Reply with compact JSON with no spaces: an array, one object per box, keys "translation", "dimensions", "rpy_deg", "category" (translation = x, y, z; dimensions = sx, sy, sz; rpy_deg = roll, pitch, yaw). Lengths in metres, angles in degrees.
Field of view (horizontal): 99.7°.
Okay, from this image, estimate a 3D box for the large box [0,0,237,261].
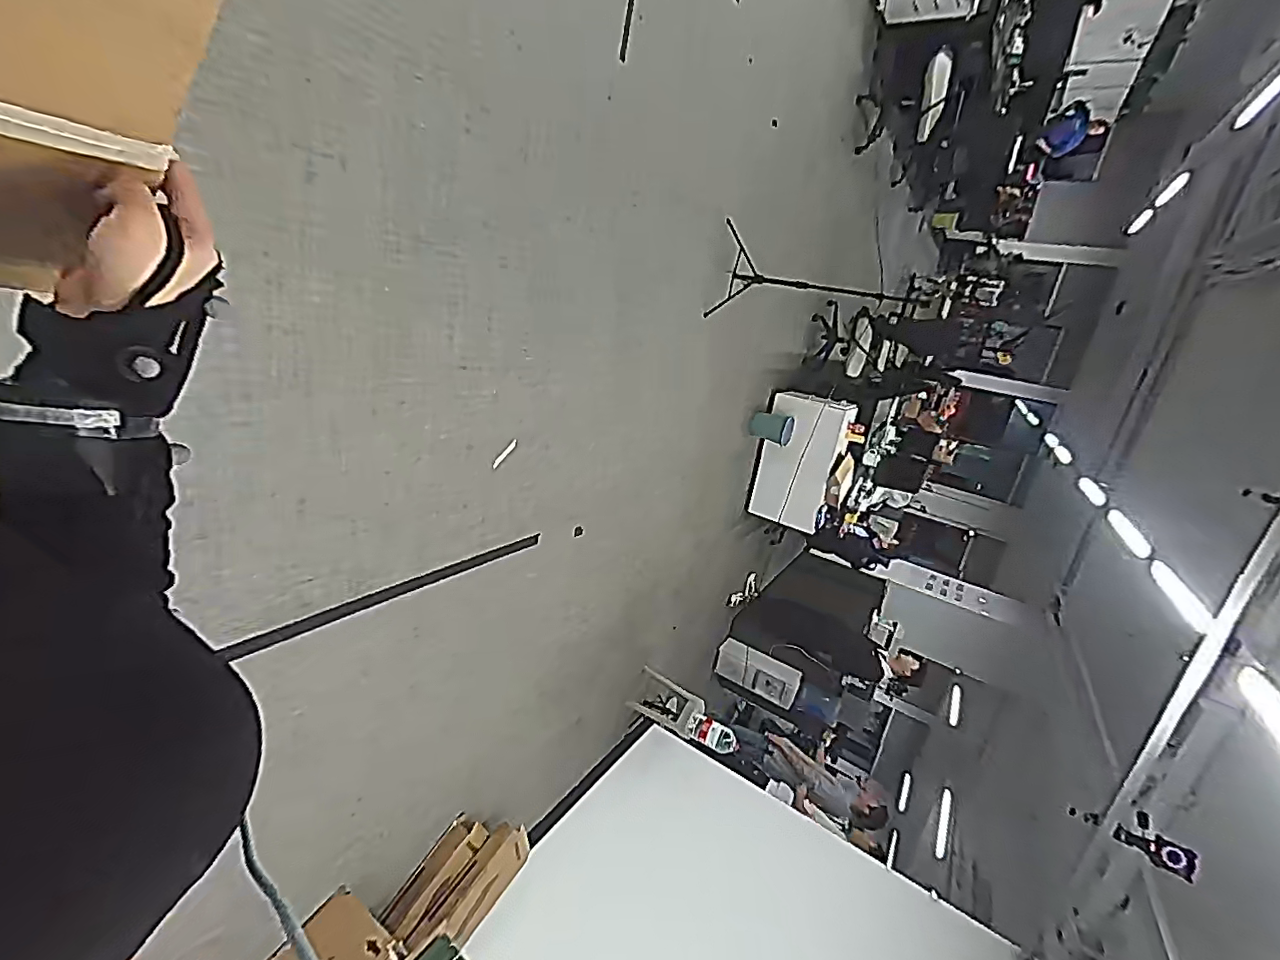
[{"translation":[-0.433,-0.322,0.169],"dimensions":[0.408,0.320,0.320],"rpy_deg":[-17,83,-56],"category":"large box"}]
